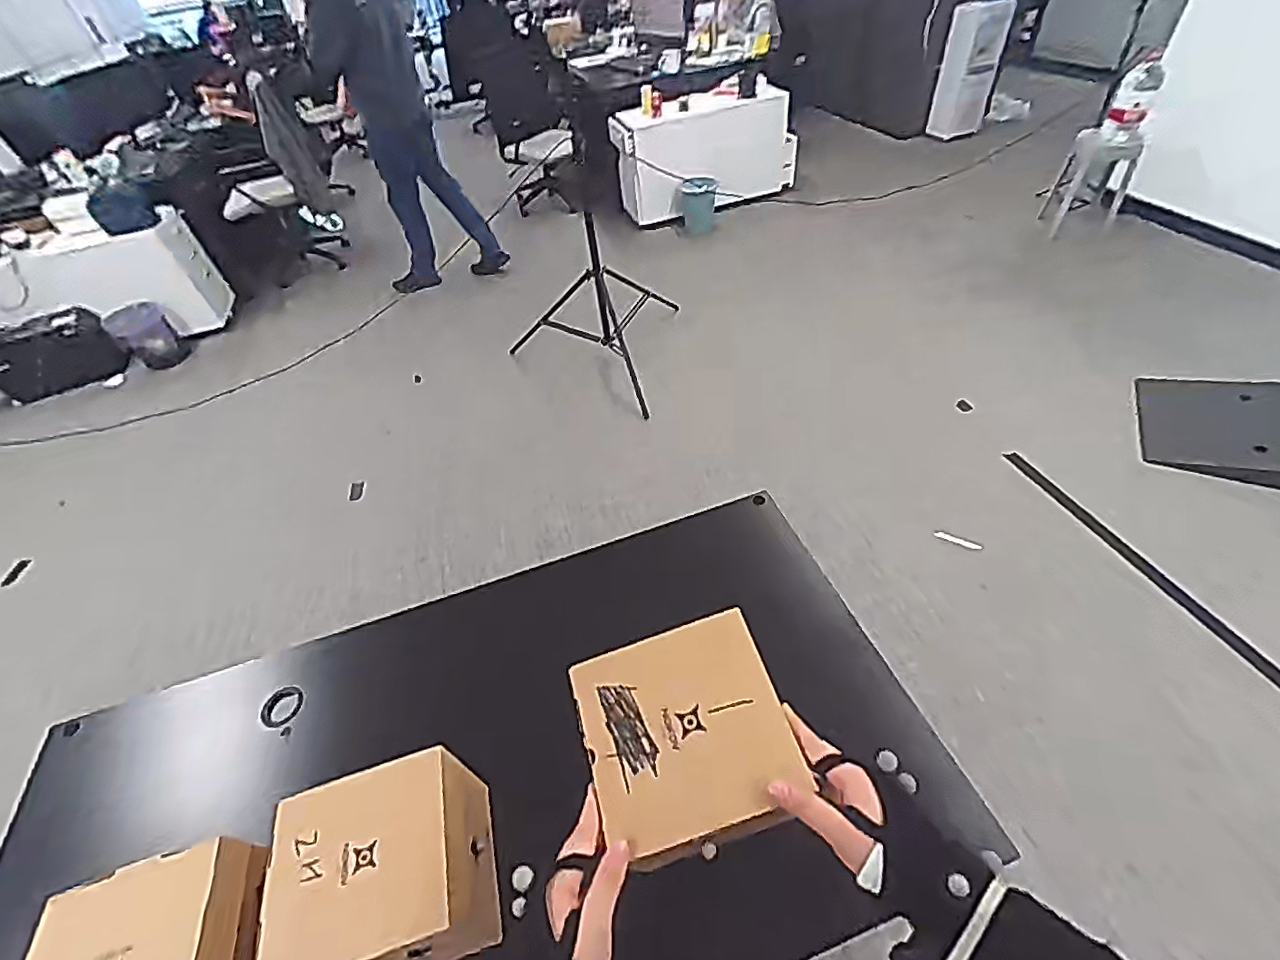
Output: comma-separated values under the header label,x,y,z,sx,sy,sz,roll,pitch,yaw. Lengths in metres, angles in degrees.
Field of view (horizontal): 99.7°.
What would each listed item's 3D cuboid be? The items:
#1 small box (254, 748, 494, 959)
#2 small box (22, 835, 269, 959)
label,x,y,z,sx,sy,sz,roll,pitch,yaw
small box,-0.265,0.421,0.579,0.179,0.176,0.168,-17,47,-7
small box,-0.468,0.497,0.540,0.168,0.176,0.179,-19,48,-7
